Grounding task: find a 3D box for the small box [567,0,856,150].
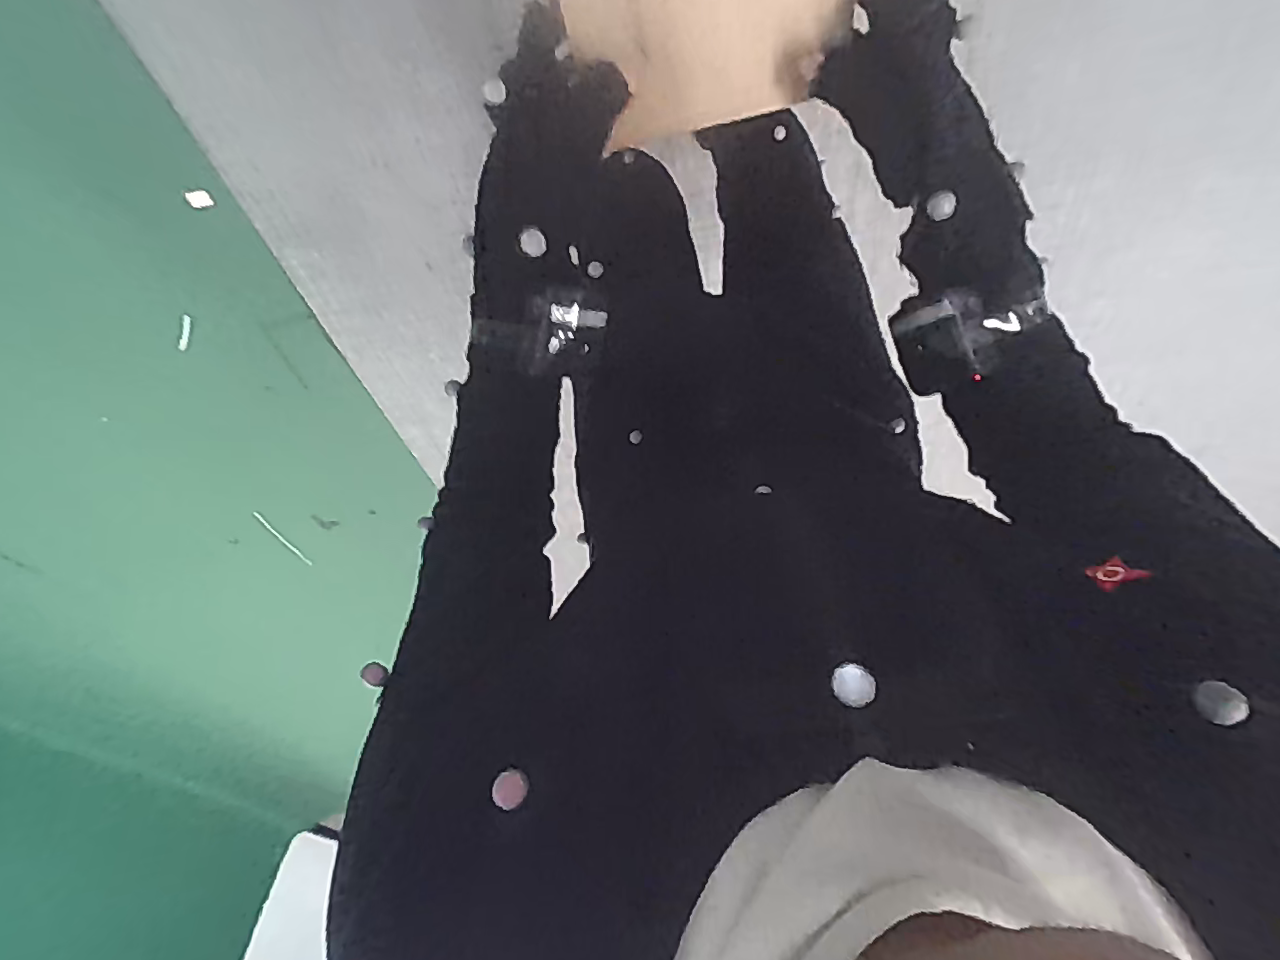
[{"bbox_3d":[0.042,-0.362,0.376,0.179,0.176,0.168,-8,135,11],"label":"small box"}]
